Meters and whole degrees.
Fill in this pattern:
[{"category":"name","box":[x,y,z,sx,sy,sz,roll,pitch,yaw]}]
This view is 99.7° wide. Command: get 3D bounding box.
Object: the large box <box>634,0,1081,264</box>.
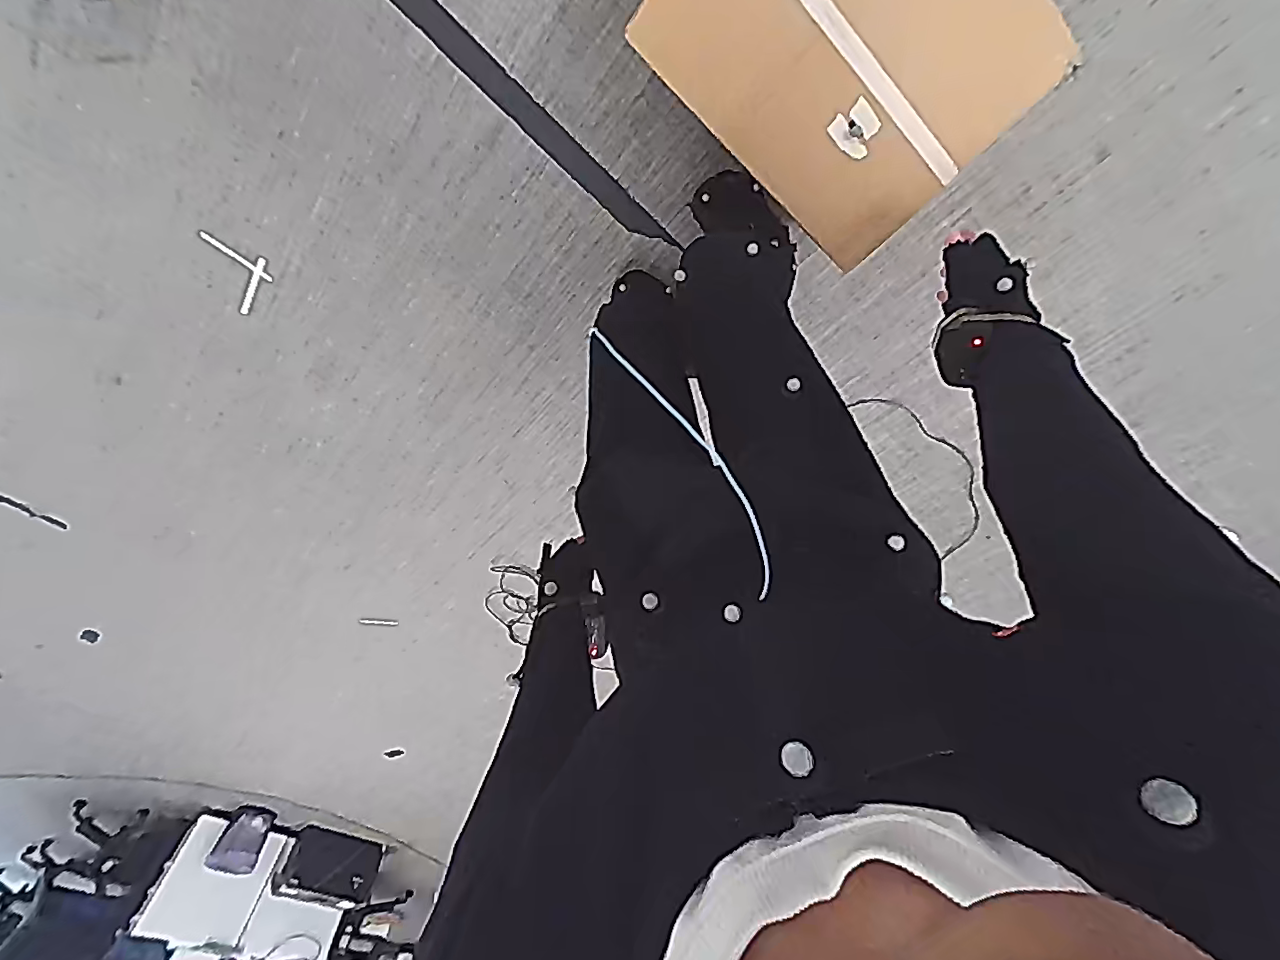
[{"category":"large box","box":[0.244,-0.580,0.711,0.408,0.320,0.320,33,126,-23]}]
